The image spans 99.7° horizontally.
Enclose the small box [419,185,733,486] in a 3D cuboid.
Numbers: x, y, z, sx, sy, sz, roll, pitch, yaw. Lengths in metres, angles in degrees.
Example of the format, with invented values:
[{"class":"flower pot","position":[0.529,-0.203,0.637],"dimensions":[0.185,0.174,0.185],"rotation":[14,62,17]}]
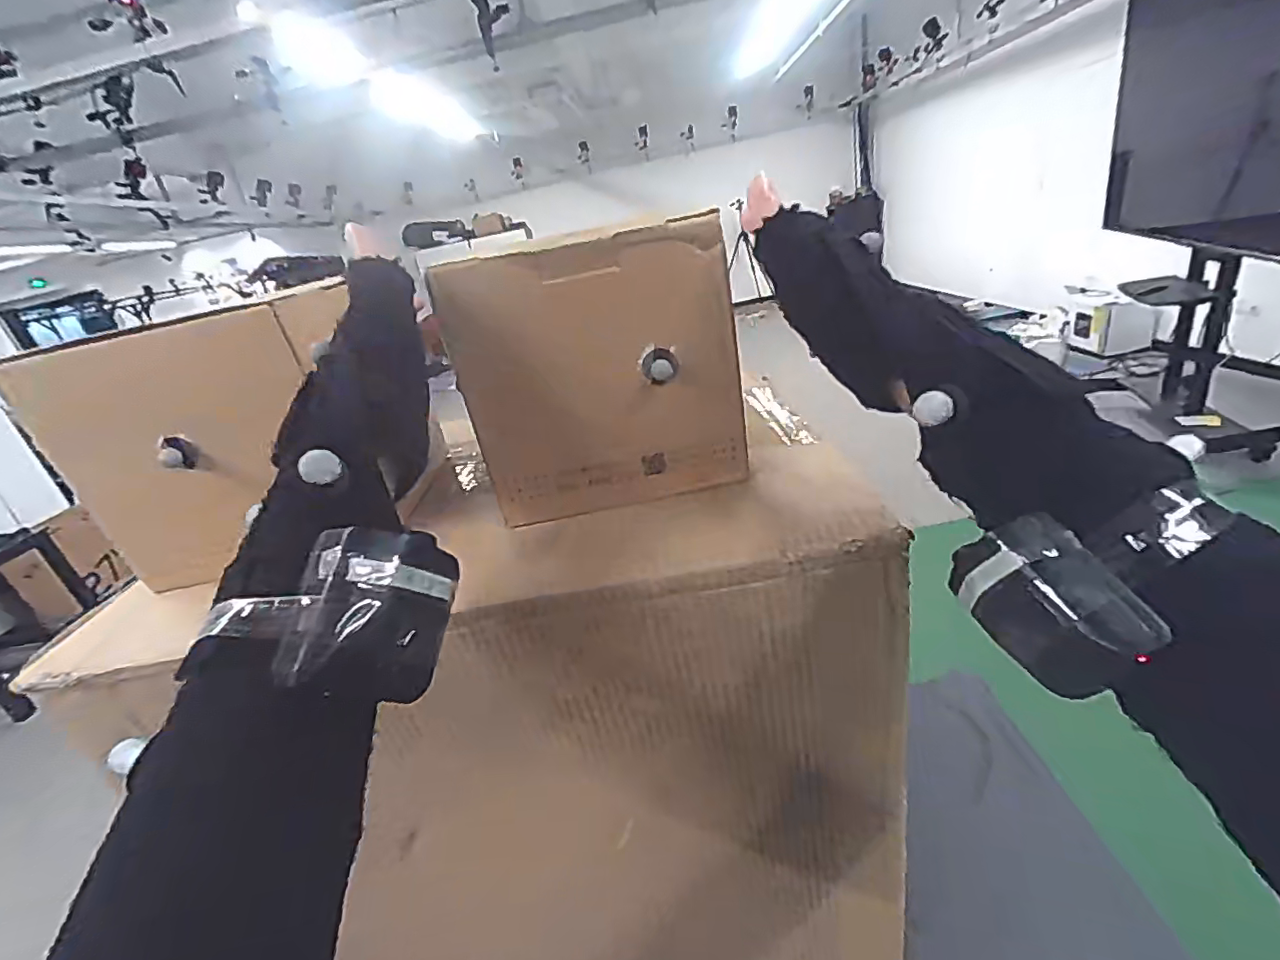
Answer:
[{"class":"small box","position":[-0.035,-0.106,0.397],"dimensions":[0.168,0.176,0.179],"rotation":[-11,28,-3]}]

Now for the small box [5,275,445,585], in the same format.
[{"class":"small box","position":[-0.277,-0.044,0.419],"dimensions":[0.179,0.176,0.168],"rotation":[-13,27,3]}]
